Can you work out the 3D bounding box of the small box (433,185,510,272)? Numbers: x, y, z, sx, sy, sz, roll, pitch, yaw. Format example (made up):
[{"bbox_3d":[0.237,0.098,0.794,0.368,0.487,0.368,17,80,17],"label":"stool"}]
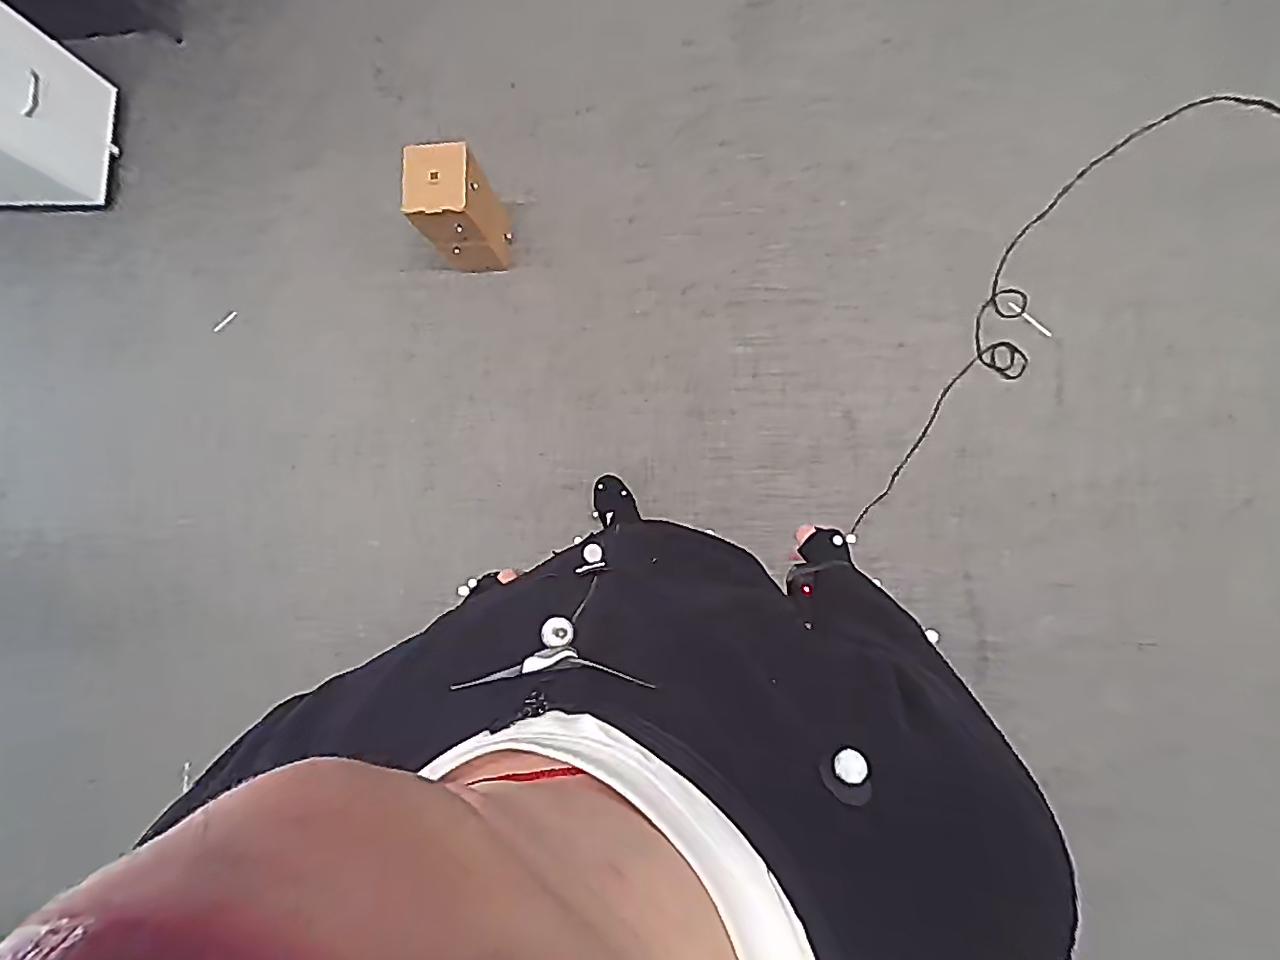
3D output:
[{"bbox_3d":[-0.488,-0.735,1.588,0.168,0.176,0.179,1,85,6],"label":"small box"}]

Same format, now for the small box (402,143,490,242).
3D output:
[{"bbox_3d":[-0.505,-0.748,1.428,0.168,0.176,0.179,-1,84,5],"label":"small box"}]
